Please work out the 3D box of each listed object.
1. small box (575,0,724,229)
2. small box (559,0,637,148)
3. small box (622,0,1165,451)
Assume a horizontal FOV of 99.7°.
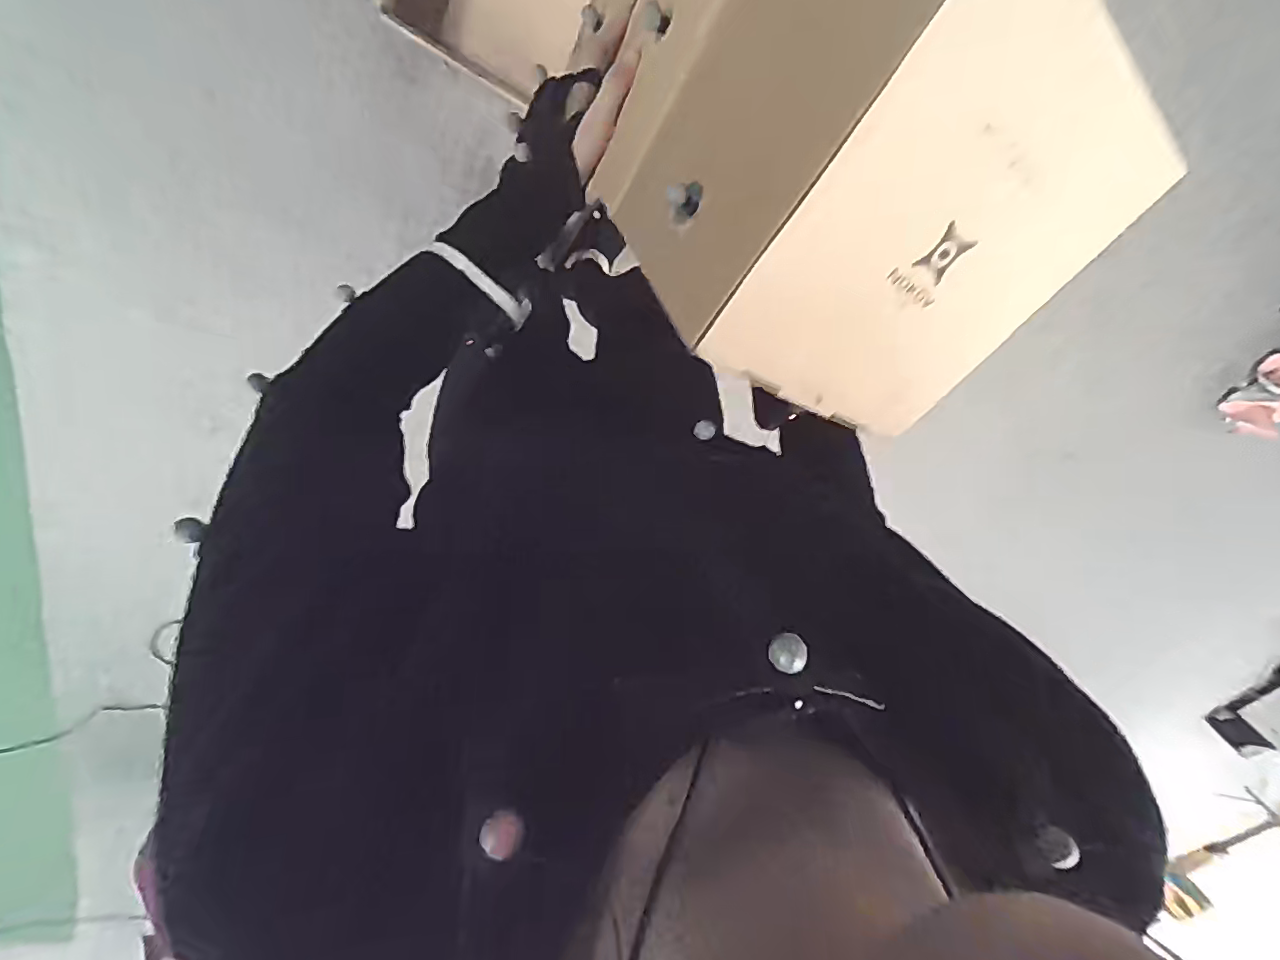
[{"bbox_3d":[0.066,-0.263,0.408,0.179,0.176,0.168,15,129,-30],"label":"small box"},{"bbox_3d":[0.034,-0.379,0.517,0.179,0.176,0.168,14,130,-29],"label":"small box"},{"bbox_3d":[0.105,-0.150,0.296,0.168,0.176,0.179,16,126,-32],"label":"small box"}]
